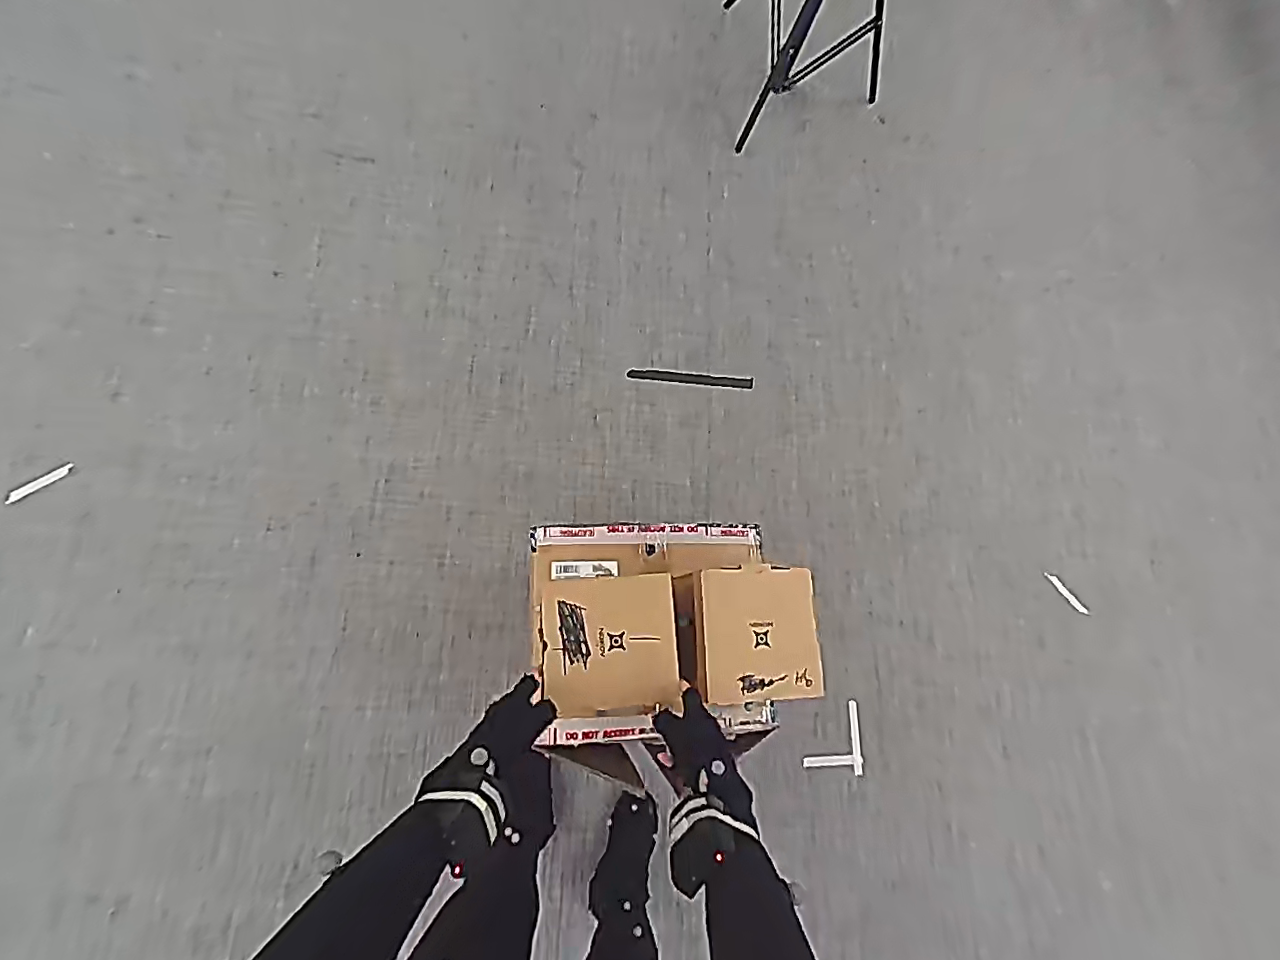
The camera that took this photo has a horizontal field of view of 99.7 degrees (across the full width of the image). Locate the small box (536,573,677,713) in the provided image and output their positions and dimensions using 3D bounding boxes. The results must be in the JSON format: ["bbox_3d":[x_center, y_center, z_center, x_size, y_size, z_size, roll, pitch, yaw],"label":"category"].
[{"bbox_3d":[-0.053,0.226,0.765,0.179,0.176,0.168,-2,75,-9],"label":"small box"}]

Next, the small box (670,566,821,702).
[{"bbox_3d":[0.144,0.225,0.802,0.168,0.176,0.179,2,74,-12],"label":"small box"}]
